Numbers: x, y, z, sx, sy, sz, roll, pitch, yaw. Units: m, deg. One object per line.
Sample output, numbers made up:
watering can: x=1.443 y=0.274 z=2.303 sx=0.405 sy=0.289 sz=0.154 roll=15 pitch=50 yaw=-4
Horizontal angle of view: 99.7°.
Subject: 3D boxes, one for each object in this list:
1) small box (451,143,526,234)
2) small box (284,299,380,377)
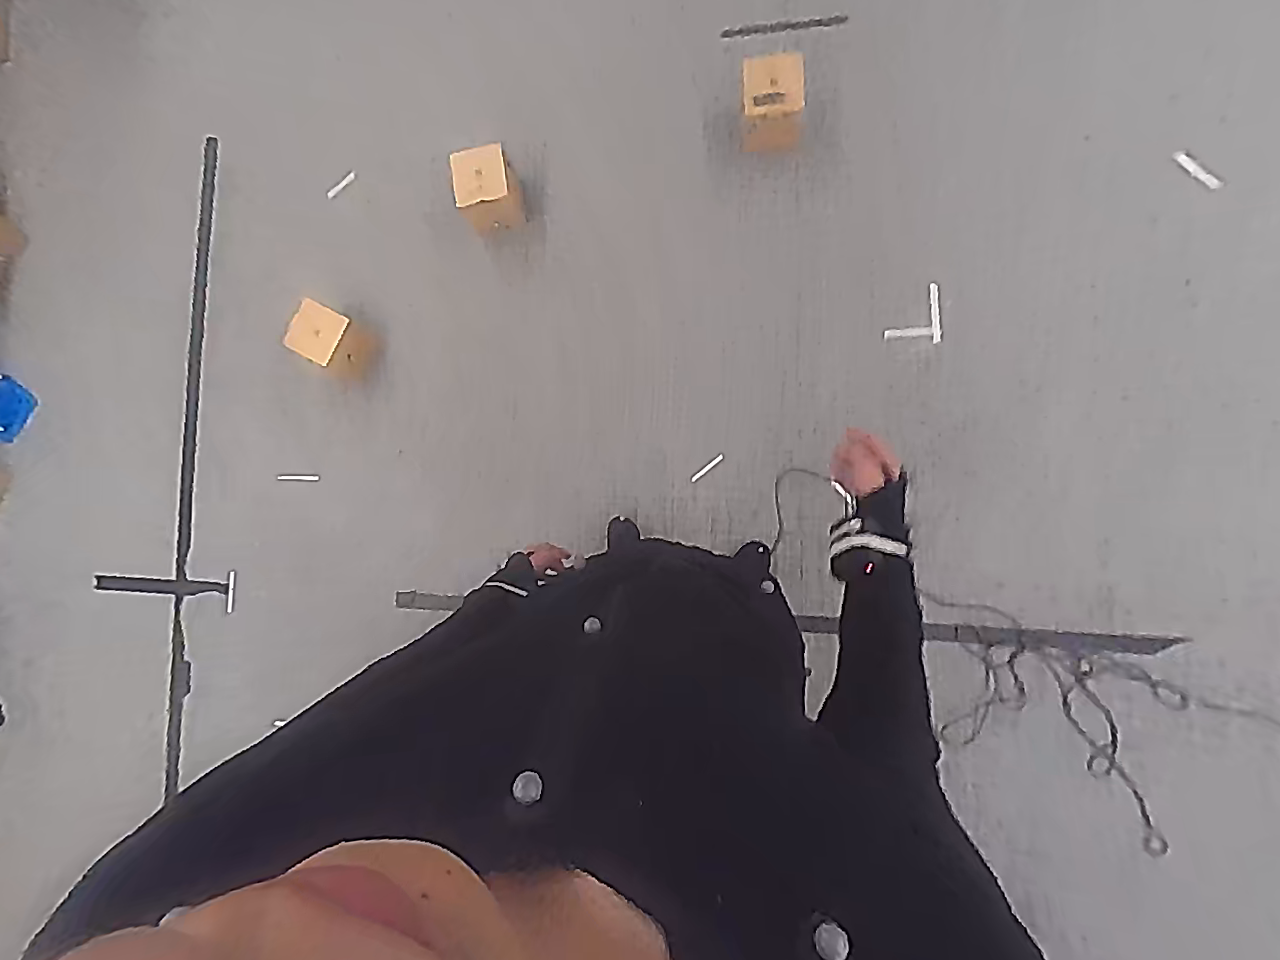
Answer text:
small box: x=-0.471 y=-0.906 z=1.694 sx=0.168 sy=0.176 sz=0.179 roll=-9 pitch=85 yaw=6
small box: x=-0.976 y=-0.445 z=1.731 sx=0.179 sy=0.176 sz=0.168 roll=27 pitch=90 yaw=9
